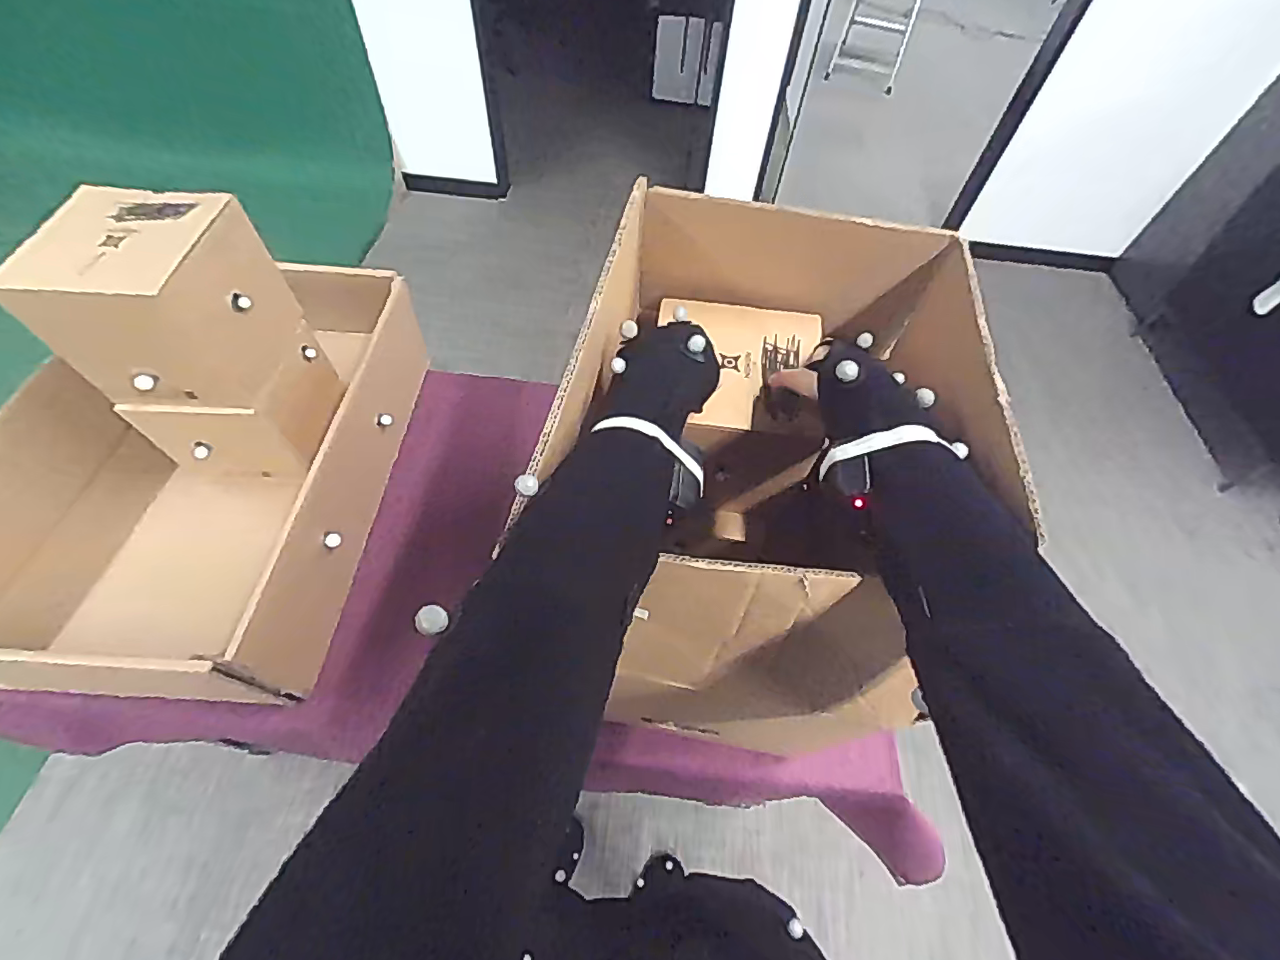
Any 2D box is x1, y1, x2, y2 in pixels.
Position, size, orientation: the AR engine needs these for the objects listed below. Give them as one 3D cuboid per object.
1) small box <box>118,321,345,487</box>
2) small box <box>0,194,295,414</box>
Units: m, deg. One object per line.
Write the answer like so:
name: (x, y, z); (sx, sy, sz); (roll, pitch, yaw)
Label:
small box: (-0.547, -0.102, 0.759); (0.168, 0.176, 0.179); (1, 57, -2)
small box: (-0.540, -0.198, 0.625); (0.168, 0.176, 0.179); (2, 58, -1)
